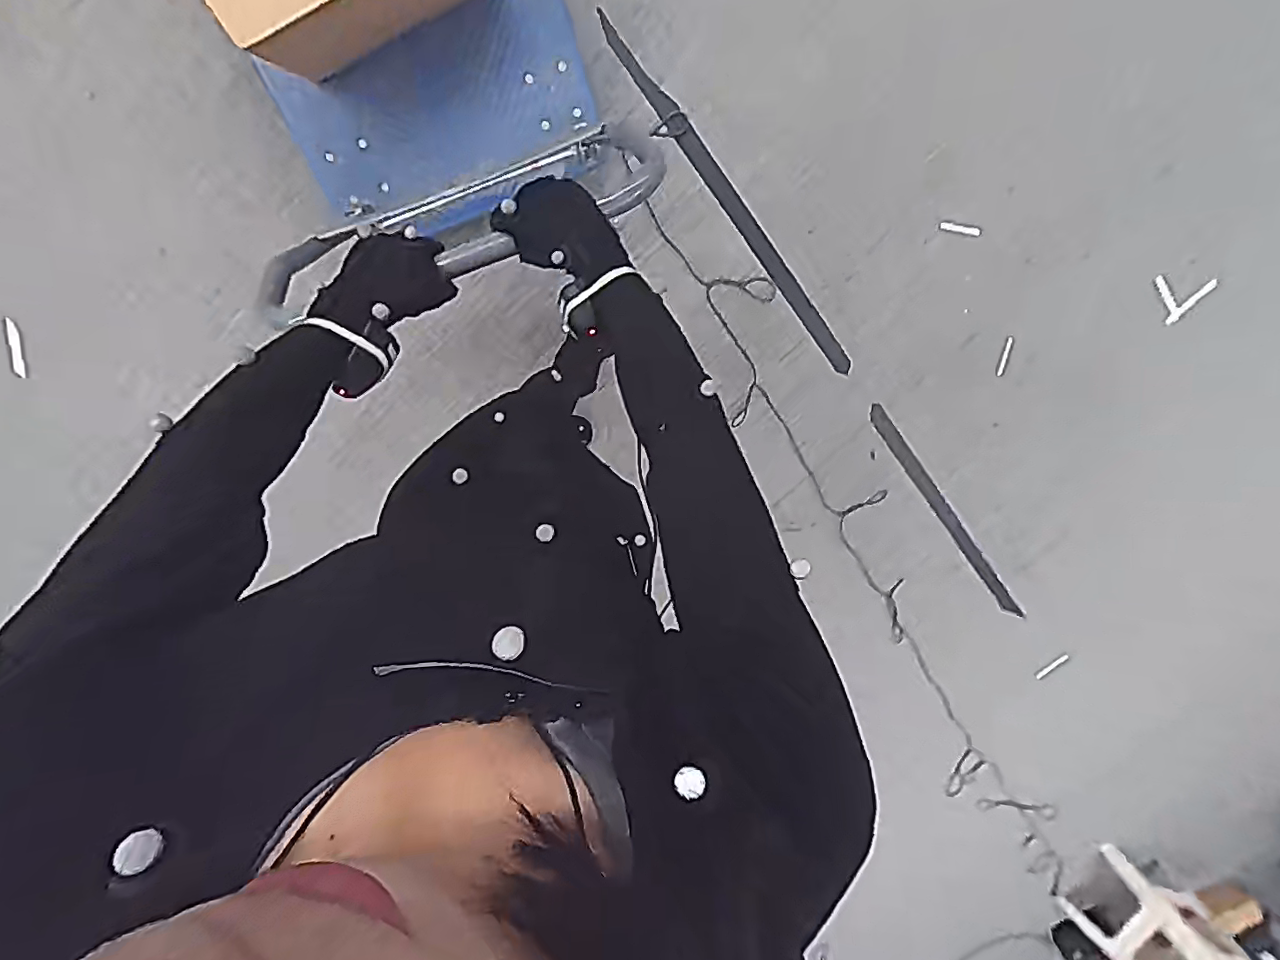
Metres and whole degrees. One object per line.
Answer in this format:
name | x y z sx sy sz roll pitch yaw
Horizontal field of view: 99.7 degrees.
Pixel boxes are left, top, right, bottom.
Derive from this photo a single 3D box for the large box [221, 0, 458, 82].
large box | -0.461 -0.878 0.796 0.408 0.320 0.320 -28 121 3
